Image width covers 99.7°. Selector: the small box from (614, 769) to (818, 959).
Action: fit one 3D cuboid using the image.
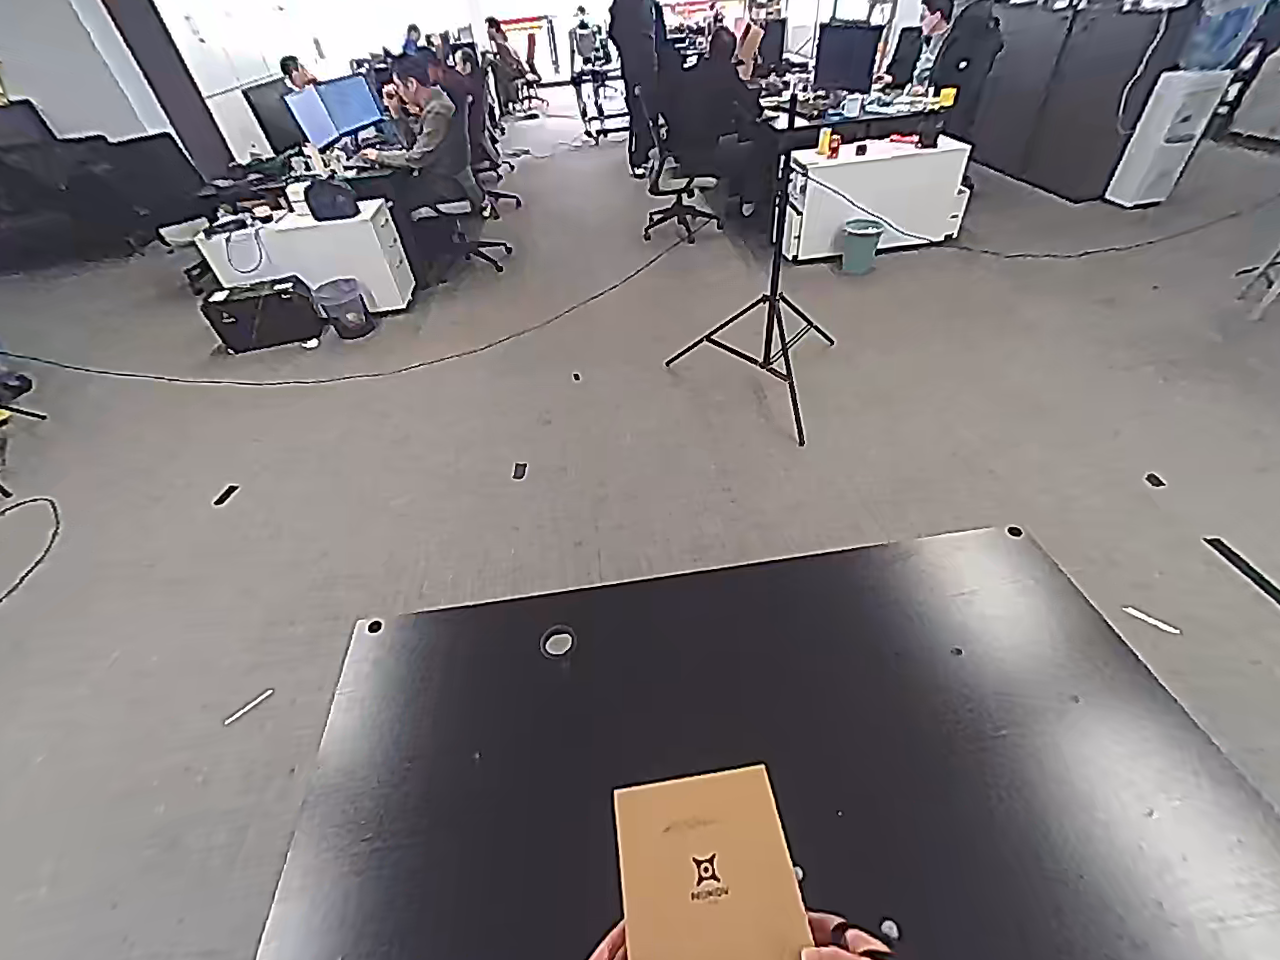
[{"bbox_3d":[0.069,0.432,0.559,0.168,0.176,0.179,-8,42,-4],"label":"small box"}]
